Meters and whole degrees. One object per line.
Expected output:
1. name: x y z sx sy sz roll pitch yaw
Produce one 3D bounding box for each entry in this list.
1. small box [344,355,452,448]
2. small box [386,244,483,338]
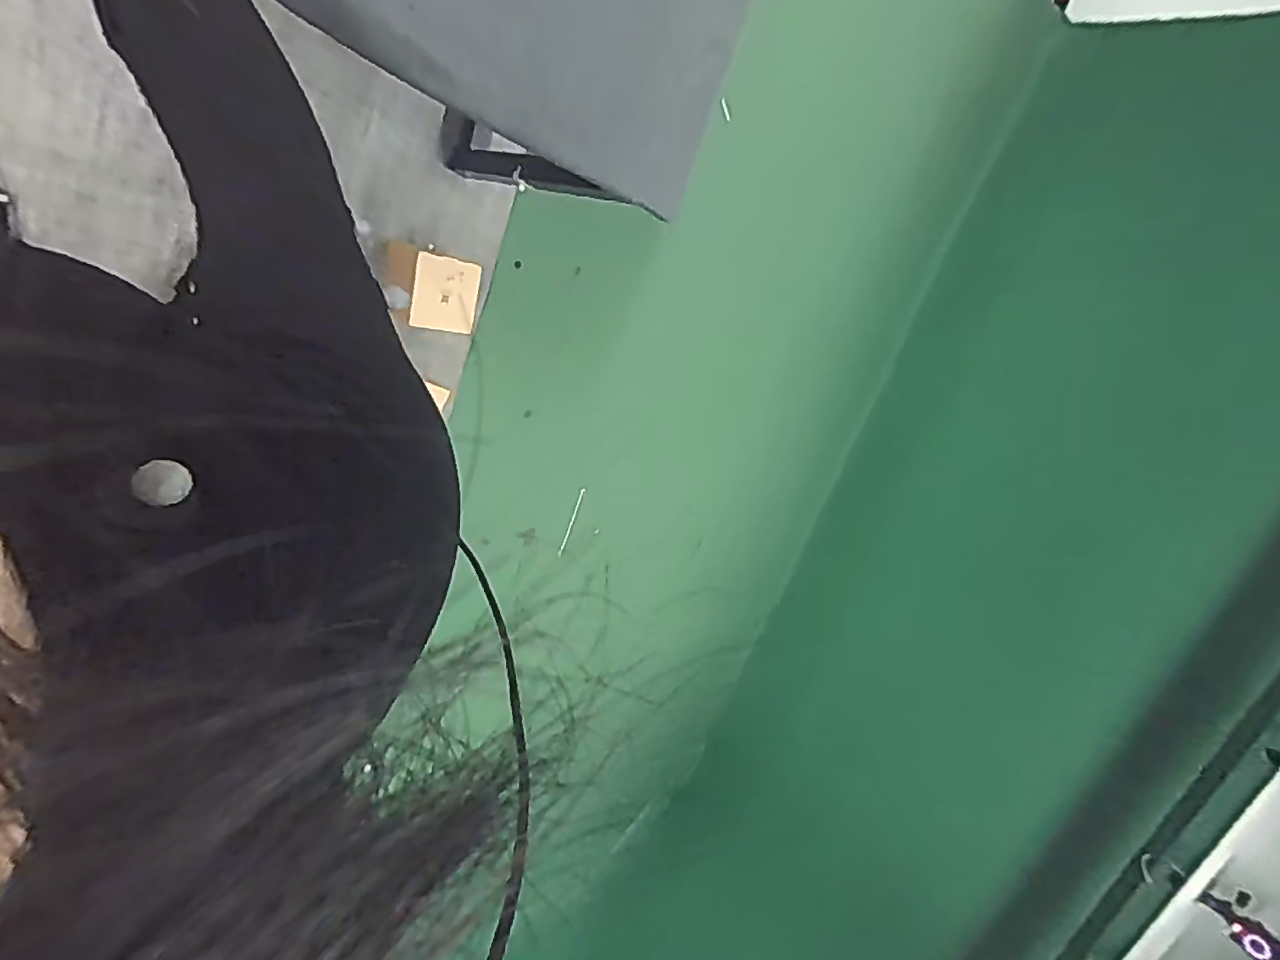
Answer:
1. small box: -0.638 -0.208 1.420 0.179 0.176 0.168 19 101 -52
2. small box: -0.523 -0.476 1.362 0.168 0.176 0.179 -6 119 -47
